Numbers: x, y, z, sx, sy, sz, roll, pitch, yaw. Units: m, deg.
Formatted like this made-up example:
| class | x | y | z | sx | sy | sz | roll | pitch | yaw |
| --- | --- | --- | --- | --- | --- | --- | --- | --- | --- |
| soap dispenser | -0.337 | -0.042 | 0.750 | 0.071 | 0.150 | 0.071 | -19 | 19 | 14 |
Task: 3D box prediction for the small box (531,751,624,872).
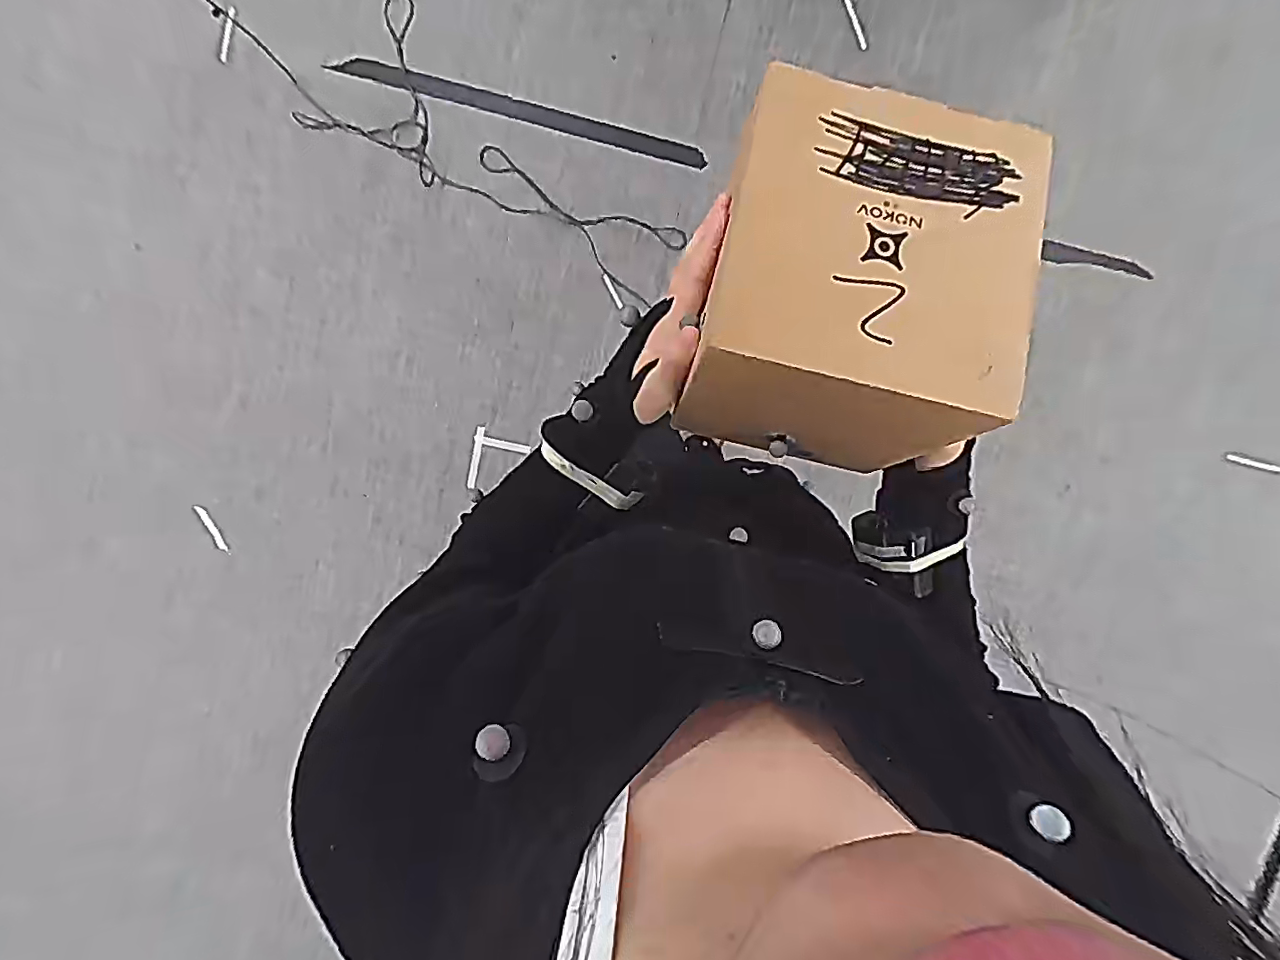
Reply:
| class | x | y | z | sx | sy | sz | roll | pitch | yaw |
| --- | --- | --- | --- | --- | --- | --- | --- | --- | --- |
| small box | -0.141 | 0.778 | 1.288 | 0.179 | 0.176 | 0.168 | 12 | 96 | 1 |
